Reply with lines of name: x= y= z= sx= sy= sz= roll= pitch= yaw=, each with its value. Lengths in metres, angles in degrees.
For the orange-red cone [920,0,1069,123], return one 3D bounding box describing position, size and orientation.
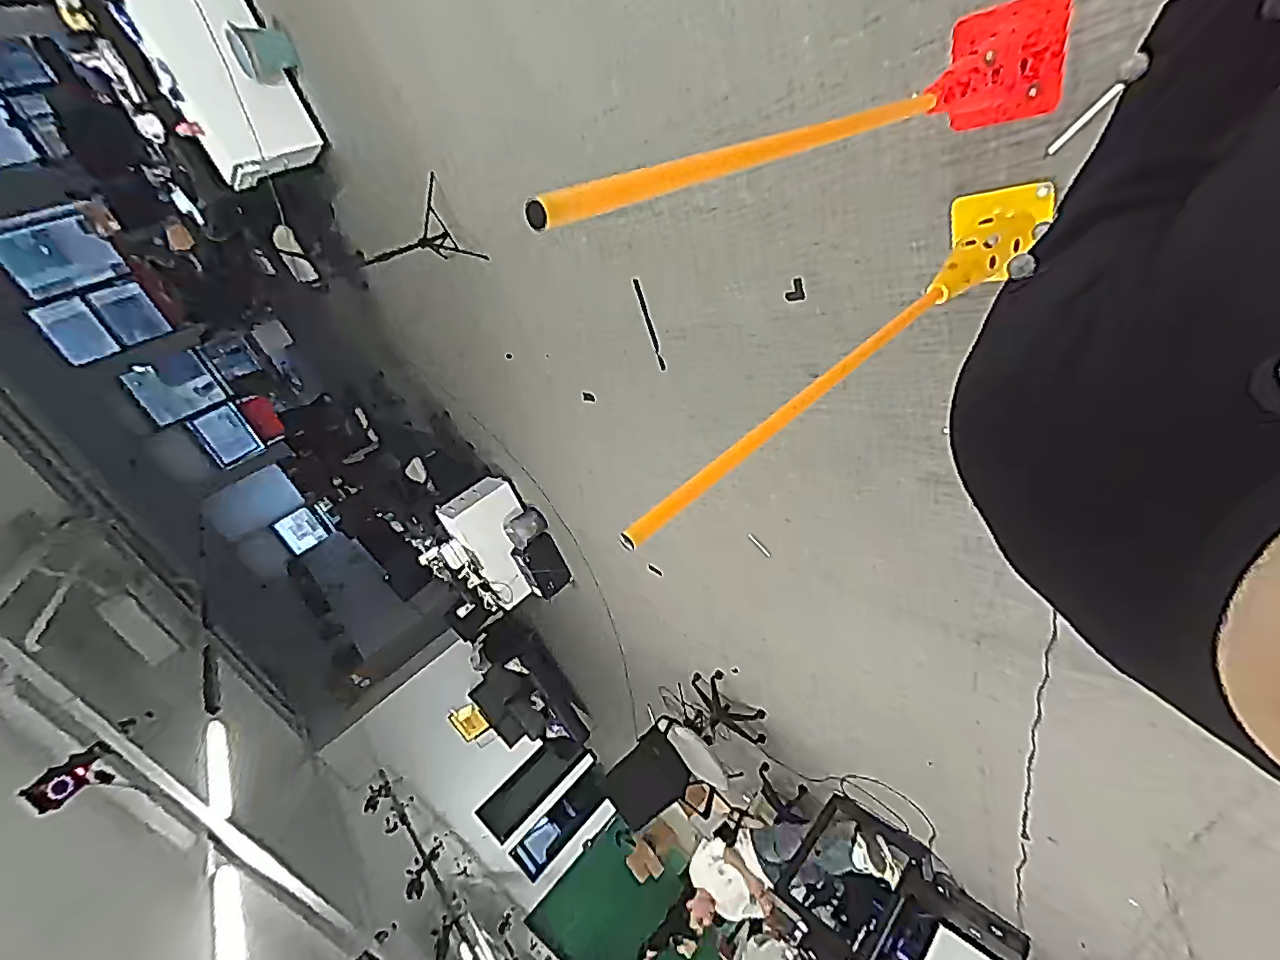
orange-red cone: x=0.599 y=-0.741 z=0.981 sx=0.198 sy=0.360 sz=0.199 roll=19 pitch=136 yaw=43
